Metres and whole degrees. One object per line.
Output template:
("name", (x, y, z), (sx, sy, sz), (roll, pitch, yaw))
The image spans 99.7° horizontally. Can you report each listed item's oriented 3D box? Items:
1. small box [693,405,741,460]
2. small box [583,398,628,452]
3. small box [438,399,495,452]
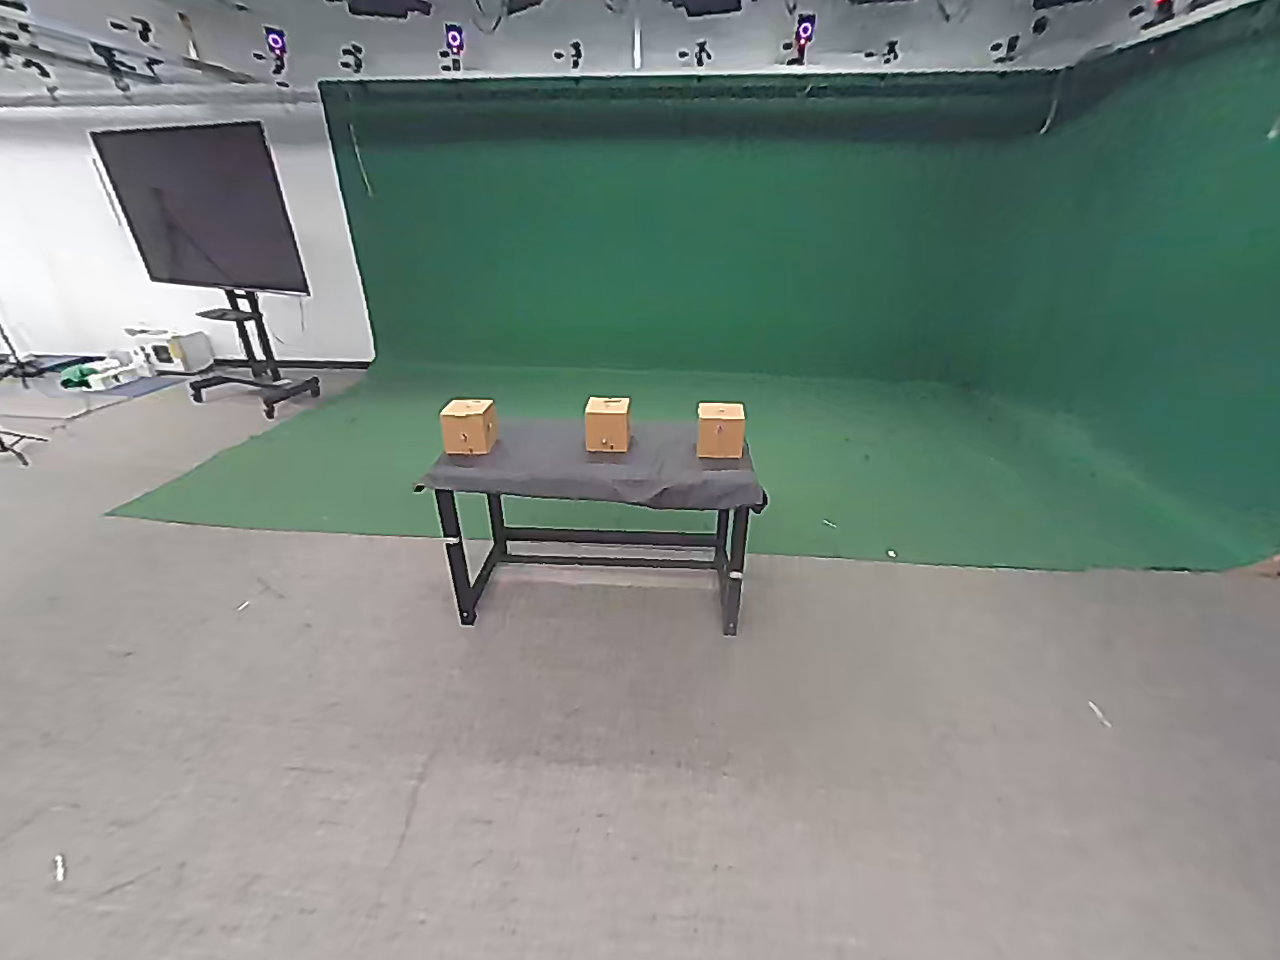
("small box", (0.304, -0.190, 2.156), (0.179, 0.176, 0.168), (4, 29, 4))
("small box", (-0.138, -0.226, 2.208), (0.168, 0.176, 0.179), (2, 29, 2))
("small box", (-0.689, -0.219, 2.173), (0.168, 0.176, 0.179), (2, 28, 0))
